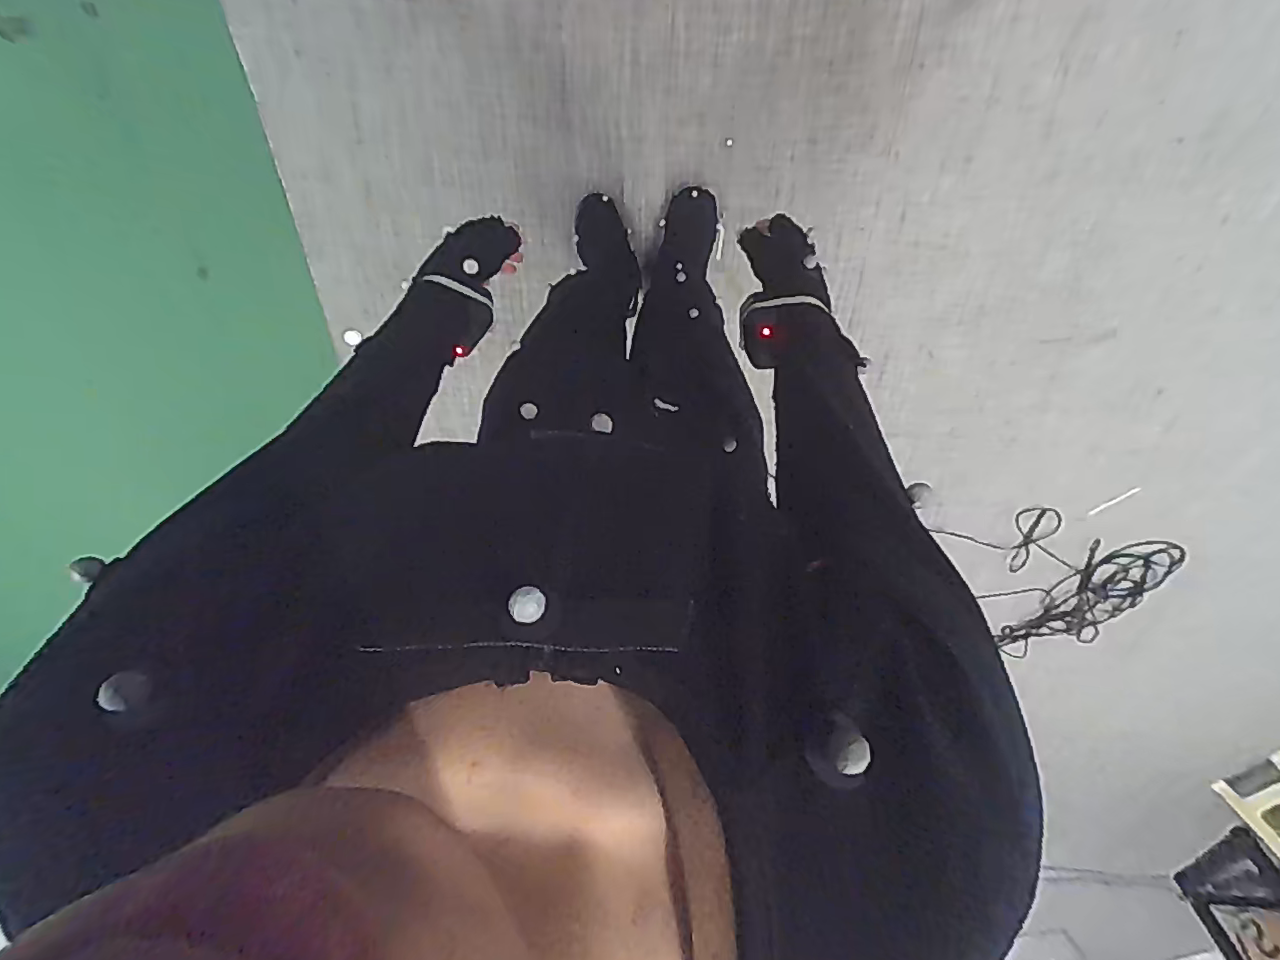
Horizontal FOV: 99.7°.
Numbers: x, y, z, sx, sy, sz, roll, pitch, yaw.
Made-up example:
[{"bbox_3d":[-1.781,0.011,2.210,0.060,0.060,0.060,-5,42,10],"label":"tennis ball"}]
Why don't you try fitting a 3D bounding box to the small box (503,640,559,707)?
[{"bbox_3d":[-0.410,0.736,2.061,0.168,0.176,0.179,2,124,3],"label":"small box"}]
